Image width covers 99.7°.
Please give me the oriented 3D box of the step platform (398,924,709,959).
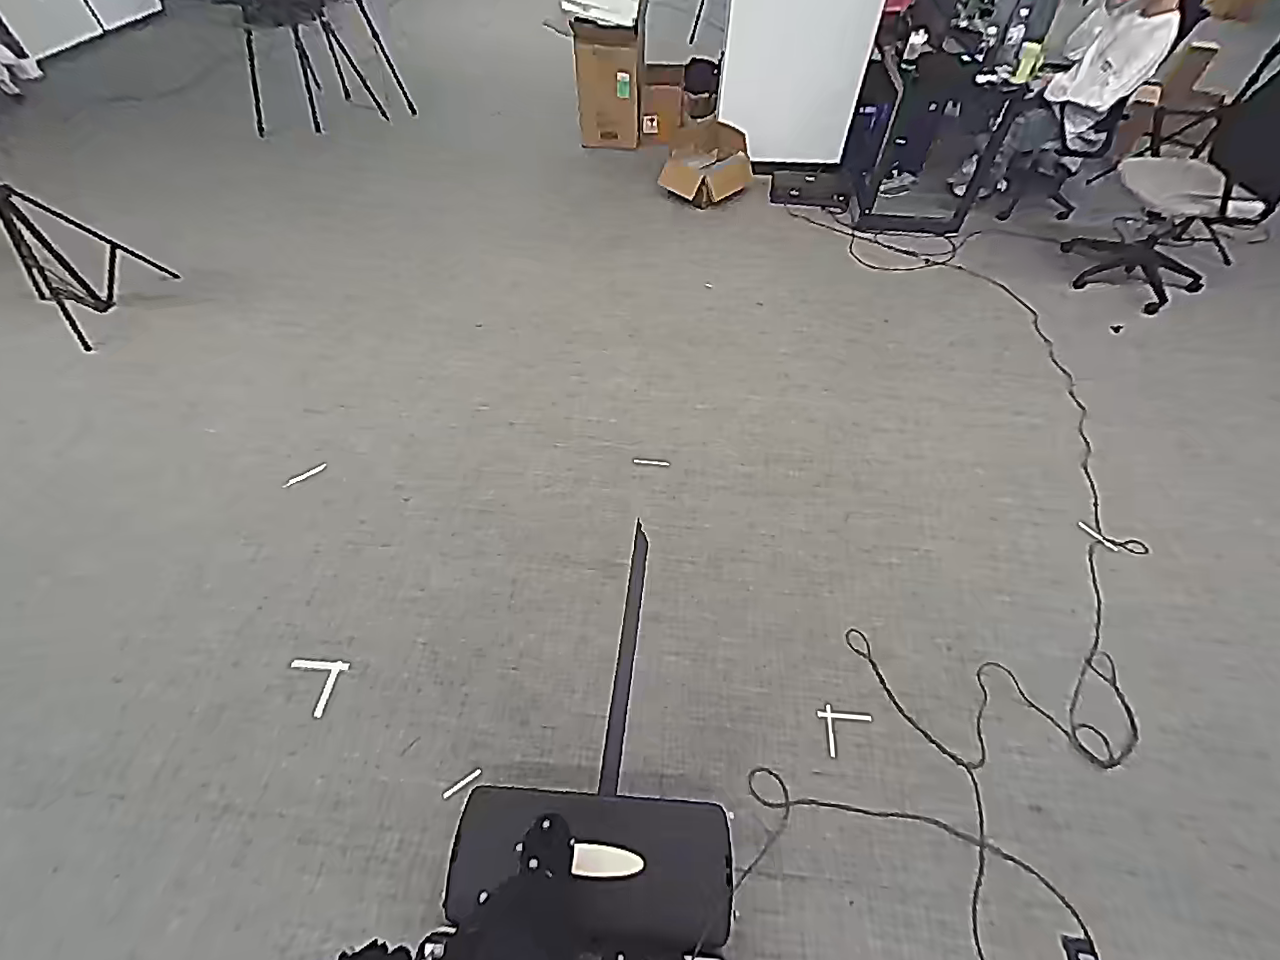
[{"bbox_3d":[-0.178,1.116,1.095,0.684,0.204,0.286,3,53,4],"label":"step platform"}]
